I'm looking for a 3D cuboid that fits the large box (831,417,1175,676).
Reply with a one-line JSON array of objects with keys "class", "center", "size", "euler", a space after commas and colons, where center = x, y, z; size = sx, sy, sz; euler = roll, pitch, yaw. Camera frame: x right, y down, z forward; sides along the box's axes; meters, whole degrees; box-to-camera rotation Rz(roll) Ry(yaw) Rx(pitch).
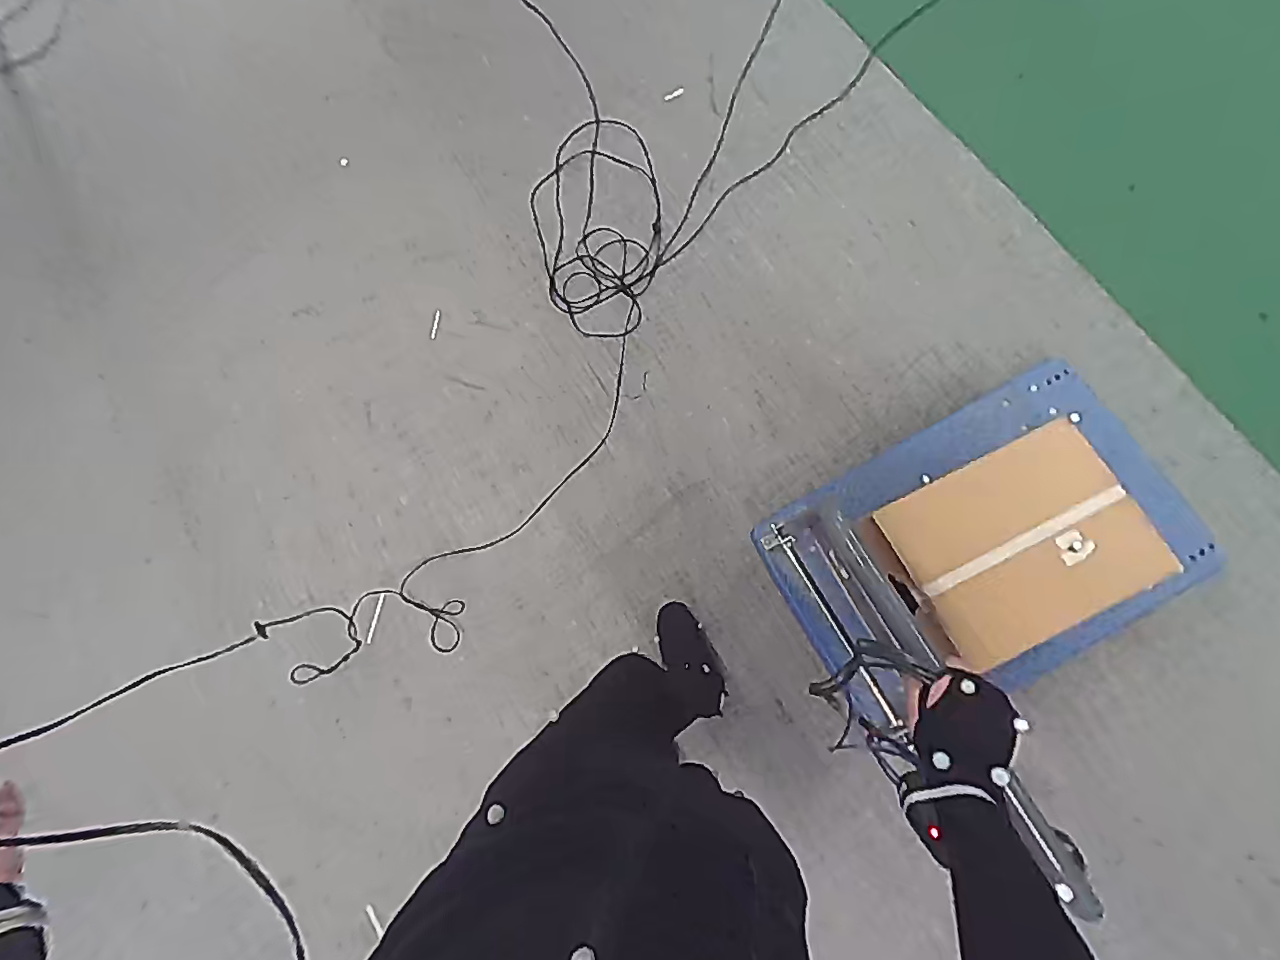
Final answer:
[{"class": "large box", "center": [0.665, 0.140, 1.076], "size": [0.408, 0.320, 0.320], "euler": [-27, 77, -2]}]
